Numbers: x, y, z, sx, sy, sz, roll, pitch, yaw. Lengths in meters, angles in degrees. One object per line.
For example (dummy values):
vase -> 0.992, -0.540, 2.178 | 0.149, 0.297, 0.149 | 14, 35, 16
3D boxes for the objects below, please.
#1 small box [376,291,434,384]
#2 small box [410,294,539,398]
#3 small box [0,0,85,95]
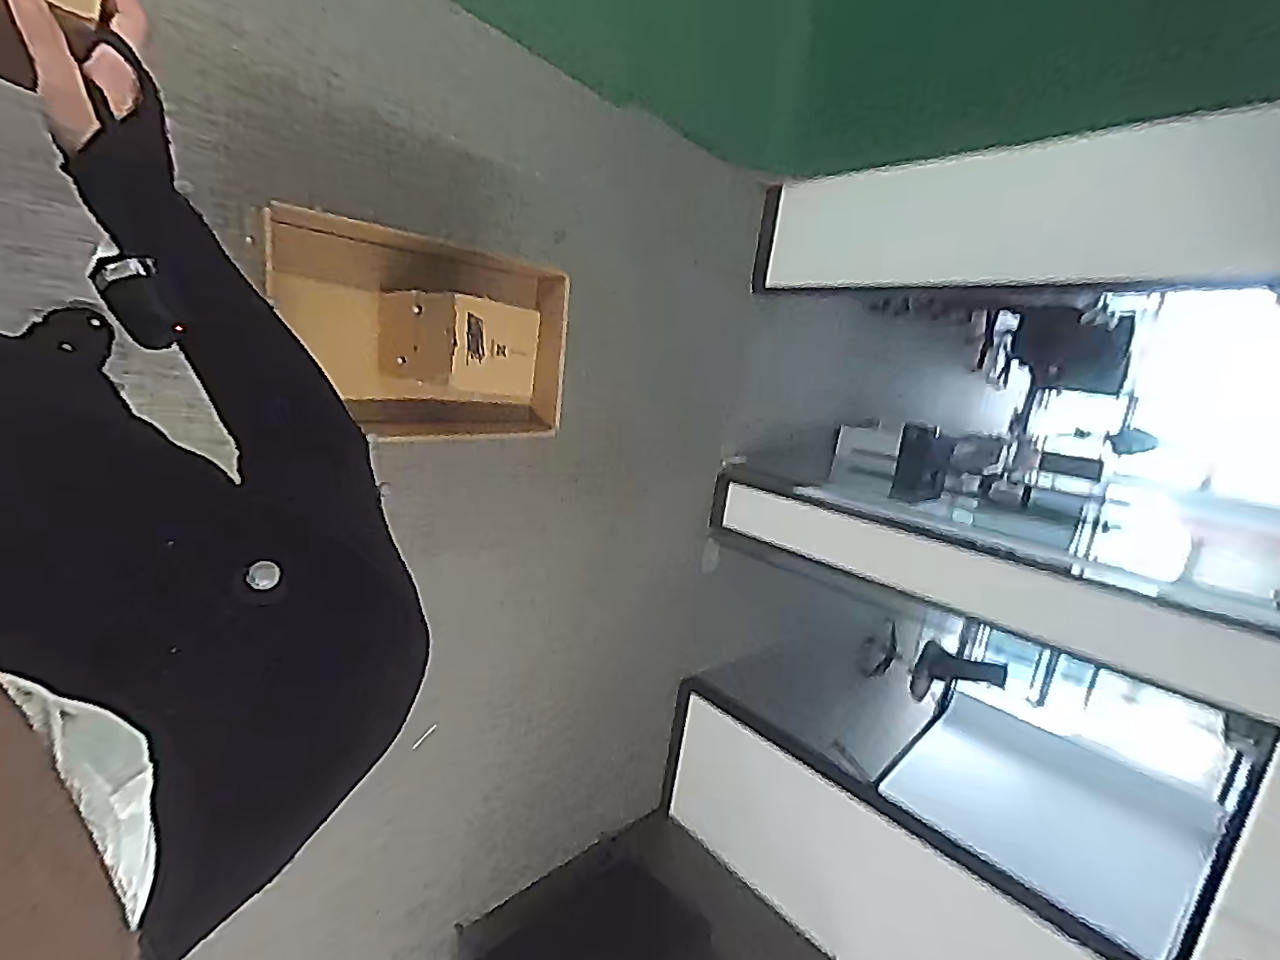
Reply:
small box -> -0.443, -0.297, 1.146 | 0.168, 0.176, 0.179 | -6, 109, -46
small box -> -0.322, -0.256, 1.042 | 0.179, 0.176, 0.168 | -3, 106, -47
small box -> -0.509, -0.429, 0.380 | 0.168, 0.176, 0.179 | 5, 90, -50
